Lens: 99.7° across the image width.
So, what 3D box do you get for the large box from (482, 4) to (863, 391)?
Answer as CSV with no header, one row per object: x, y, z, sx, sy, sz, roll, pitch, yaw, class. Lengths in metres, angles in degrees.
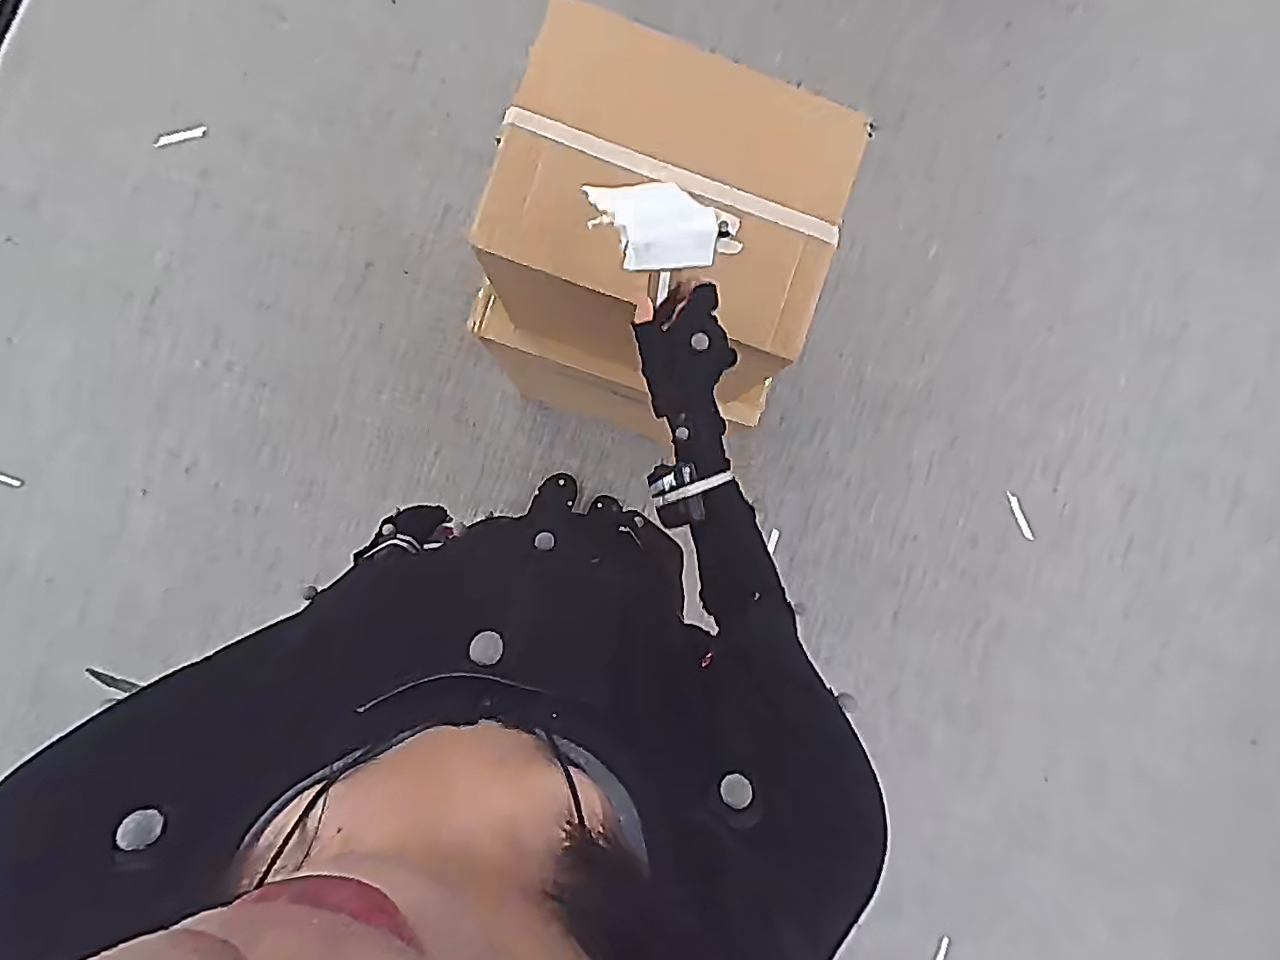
0.031,-0.359,0.794,0.408,0.320,0.320,18,88,-5,large box
